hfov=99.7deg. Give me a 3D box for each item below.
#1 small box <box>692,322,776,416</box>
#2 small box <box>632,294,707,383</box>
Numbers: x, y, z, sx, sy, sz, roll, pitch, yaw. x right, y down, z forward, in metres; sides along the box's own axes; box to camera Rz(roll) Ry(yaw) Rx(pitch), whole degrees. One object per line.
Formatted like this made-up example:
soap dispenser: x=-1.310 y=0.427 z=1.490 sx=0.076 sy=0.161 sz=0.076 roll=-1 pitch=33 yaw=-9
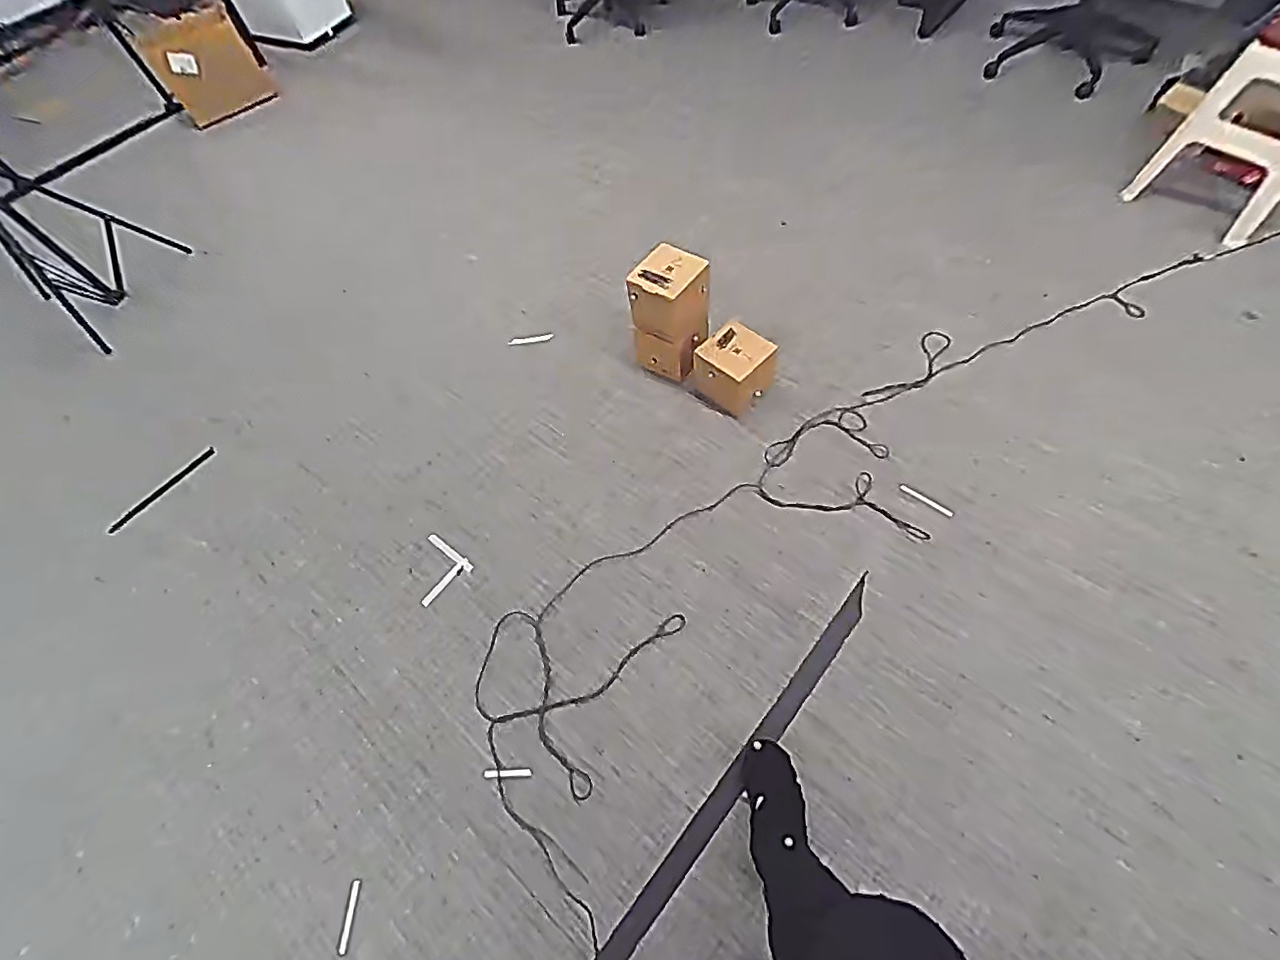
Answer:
small box: x=0.272 y=-0.322 z=1.591 sx=0.168 sy=0.176 sz=0.179 roll=-42 pitch=64 yaw=-16
small box: x=0.095 y=-0.440 z=1.687 sx=0.168 sy=0.176 sz=0.179 roll=27 pitch=67 yaw=21
